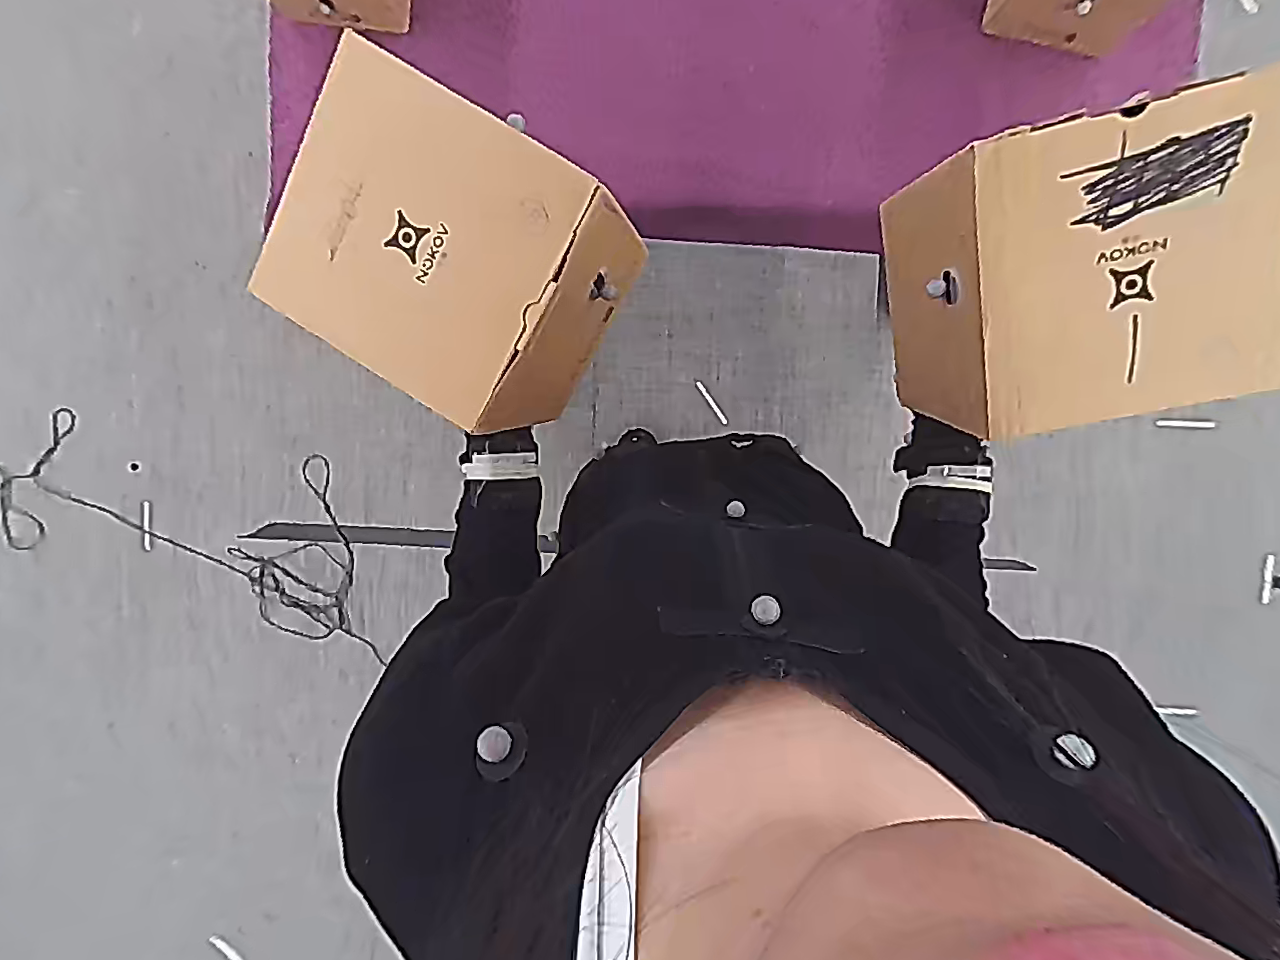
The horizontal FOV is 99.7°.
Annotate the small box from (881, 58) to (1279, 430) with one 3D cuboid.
[{"bbox_3d":[0.290,-0.148,0.392,0.168,0.176,0.179,-11,105,9],"label":"small box"}]

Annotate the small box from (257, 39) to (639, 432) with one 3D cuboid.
[{"bbox_3d":[-0.119,-0.155,0.400,0.179,0.176,0.168,32,102,4],"label":"small box"}]
